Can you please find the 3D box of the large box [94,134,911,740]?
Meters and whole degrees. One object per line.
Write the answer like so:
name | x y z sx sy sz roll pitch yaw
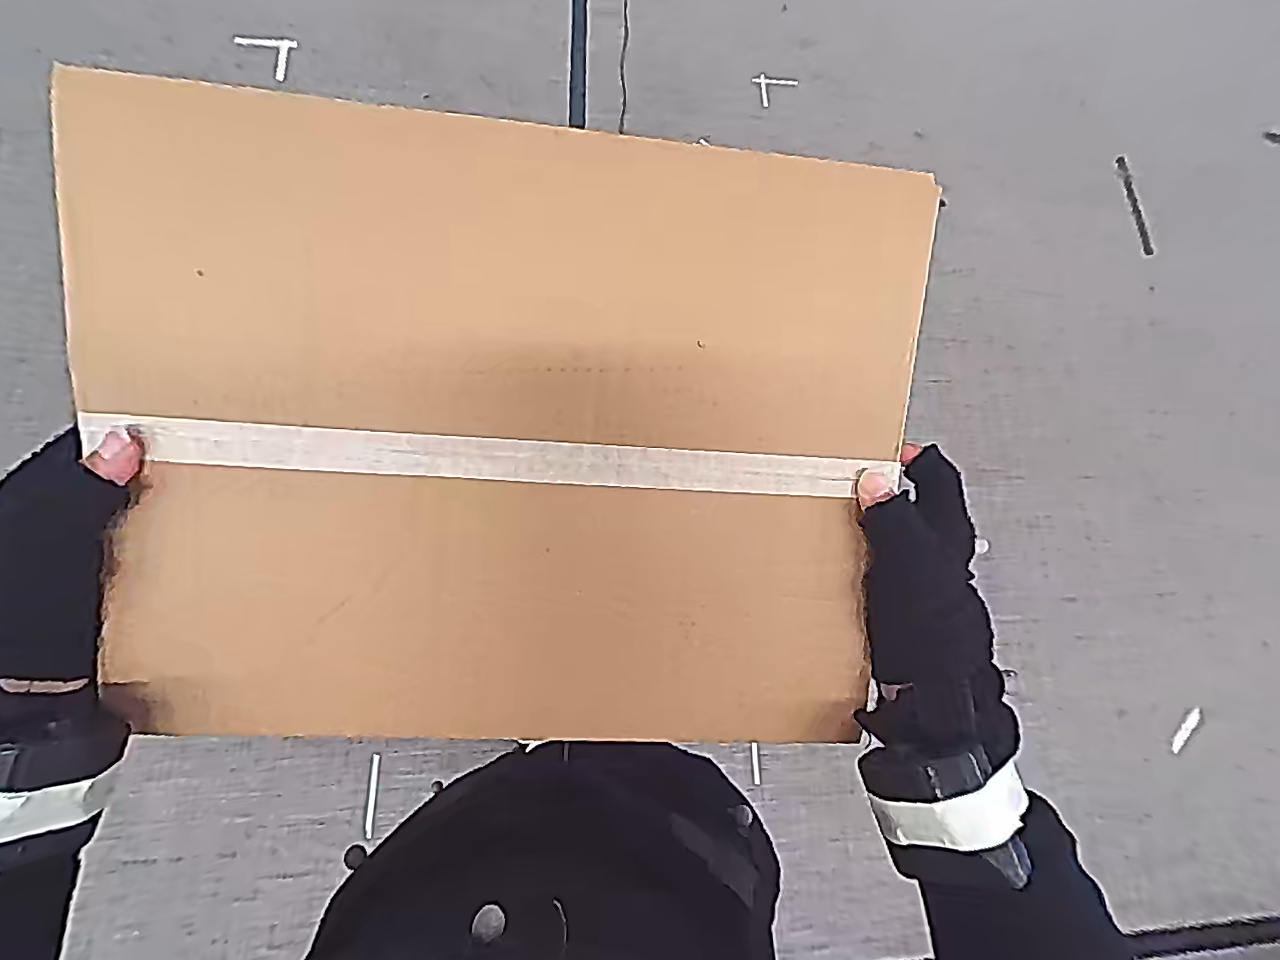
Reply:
large box | -0.073 -0.025 0.434 0.408 0.320 0.320 3 98 -6
